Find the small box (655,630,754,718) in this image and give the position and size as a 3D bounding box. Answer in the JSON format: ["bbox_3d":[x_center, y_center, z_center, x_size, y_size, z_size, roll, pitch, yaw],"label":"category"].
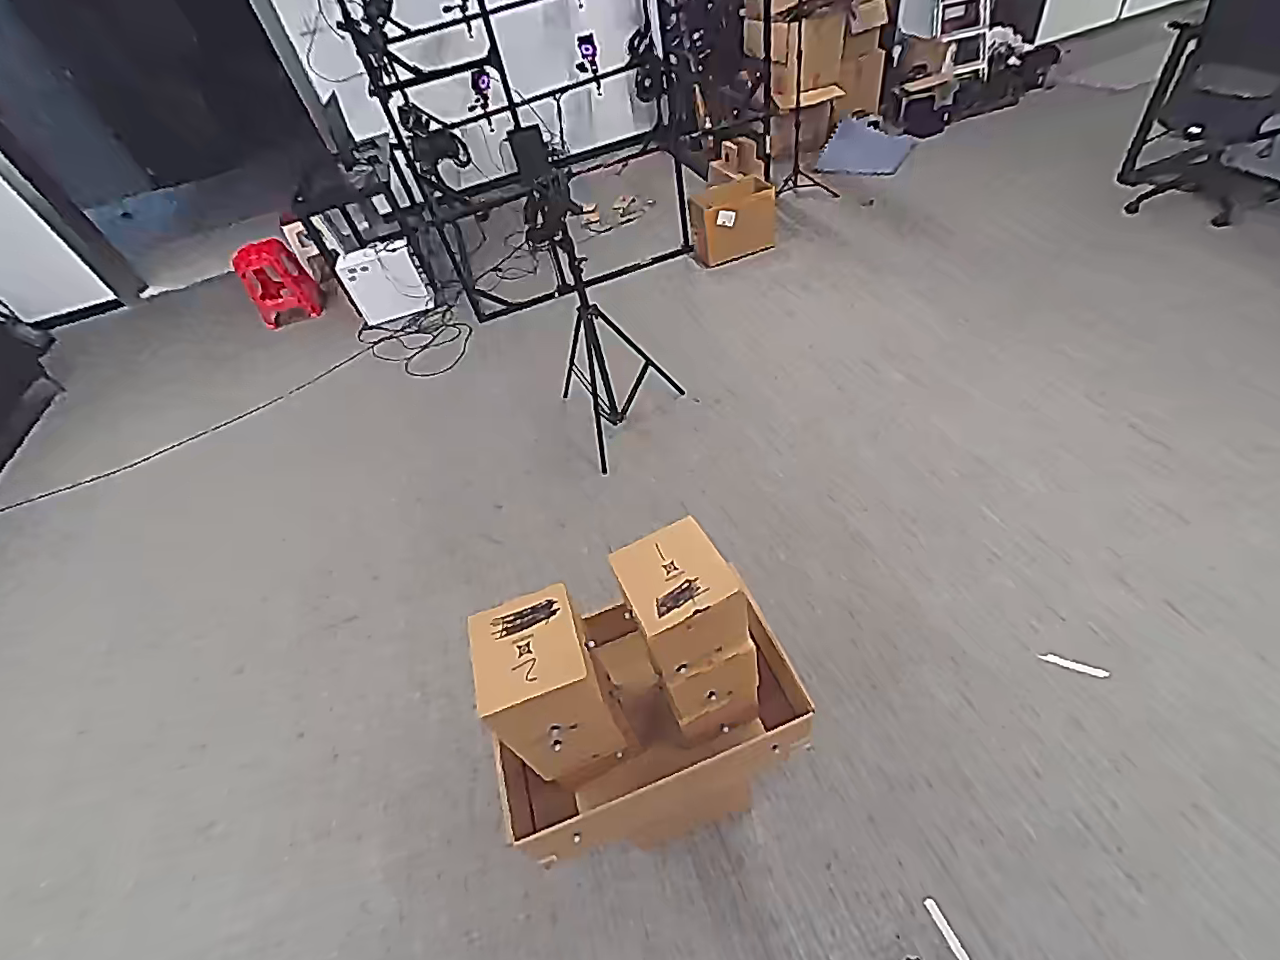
[{"bbox_3d":[0.105,0.318,1.035,0.168,0.176,0.179,-23,47,-7],"label":"small box"}]

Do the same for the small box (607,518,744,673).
[{"bbox_3d":[0.065,0.204,0.924,0.168,0.176,0.179,-25,47,-9],"label":"small box"}]

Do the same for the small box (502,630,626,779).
[{"bbox_3d":[-0.140,0.418,1.004,0.168,0.176,0.179,-21,45,-5],"label":"small box"}]
